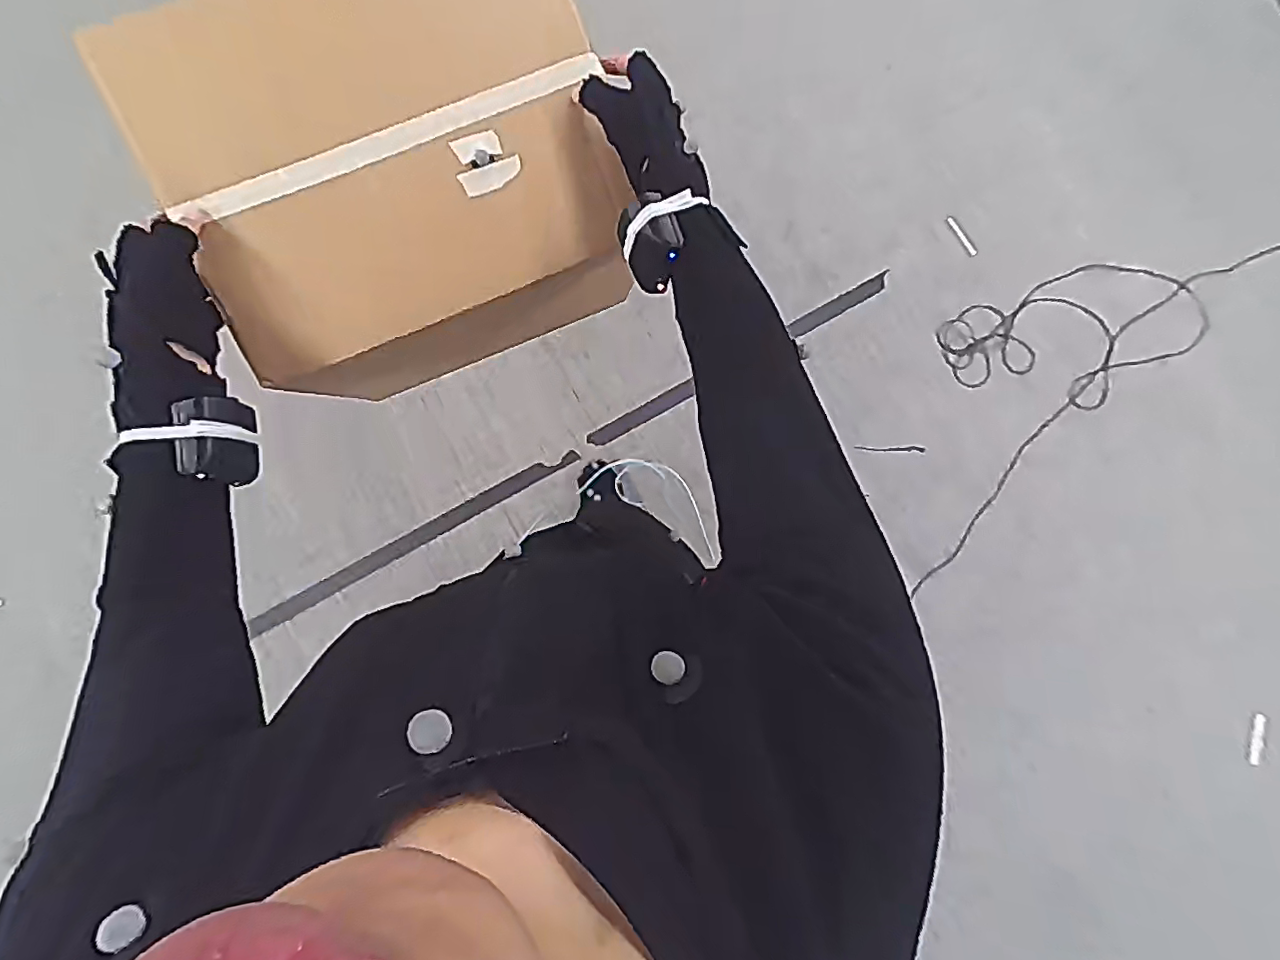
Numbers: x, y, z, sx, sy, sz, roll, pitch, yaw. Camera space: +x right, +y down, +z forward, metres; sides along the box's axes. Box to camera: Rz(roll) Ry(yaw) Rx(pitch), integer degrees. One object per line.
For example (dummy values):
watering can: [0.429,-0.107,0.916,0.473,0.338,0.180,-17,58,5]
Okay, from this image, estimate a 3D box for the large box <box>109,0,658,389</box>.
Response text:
large box: [-0.240,-0.336,0.645,0.408,0.320,0.320,-24,99,-6]
